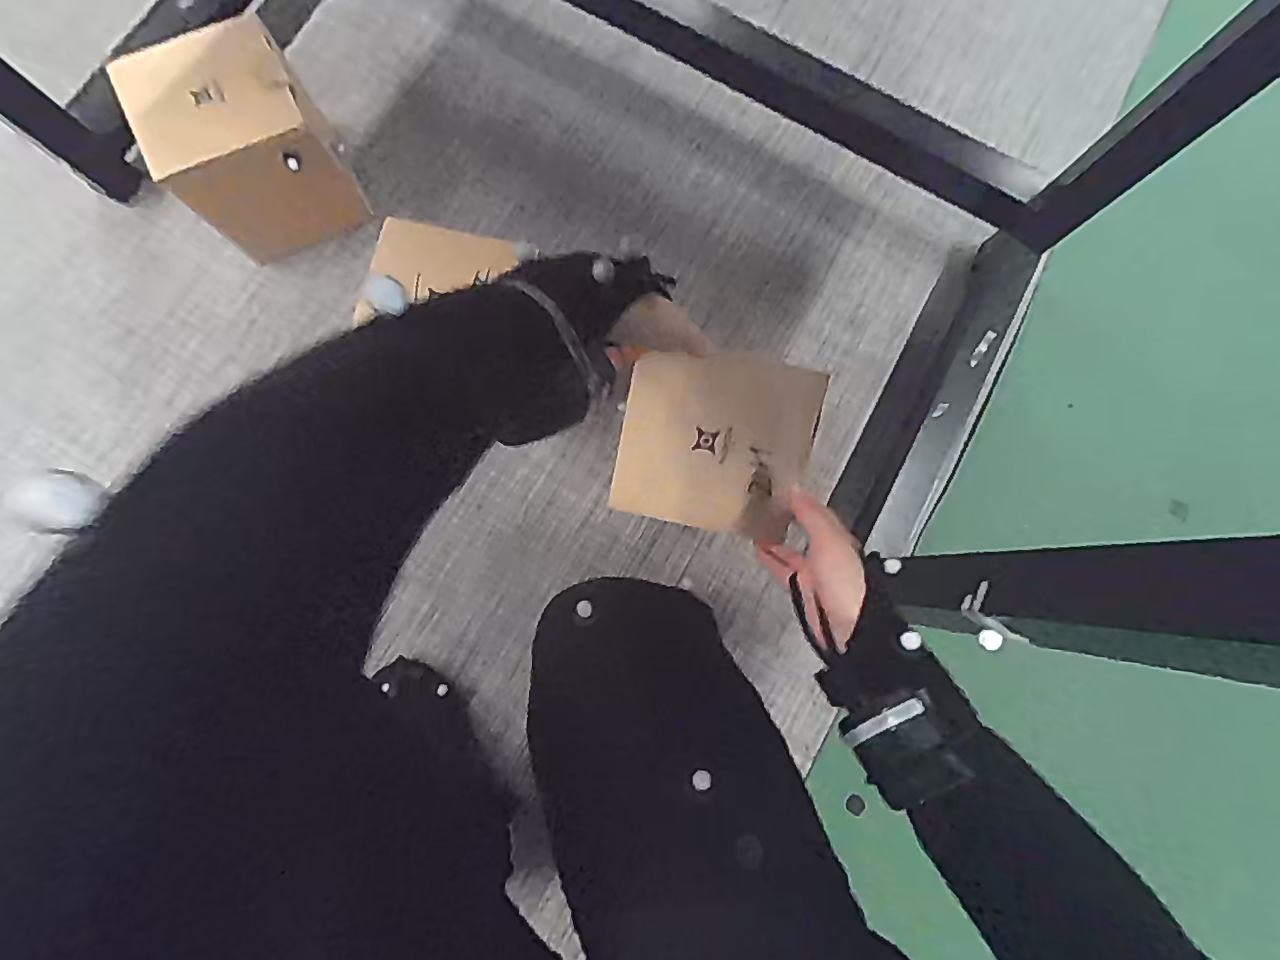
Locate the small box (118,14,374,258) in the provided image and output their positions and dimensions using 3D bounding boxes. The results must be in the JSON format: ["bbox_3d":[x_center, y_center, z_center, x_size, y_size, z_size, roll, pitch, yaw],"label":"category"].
[{"bbox_3d":[-0.479,-0.417,0.684,0.179,0.176,0.168,-27,82,-7],"label":"small box"}]
